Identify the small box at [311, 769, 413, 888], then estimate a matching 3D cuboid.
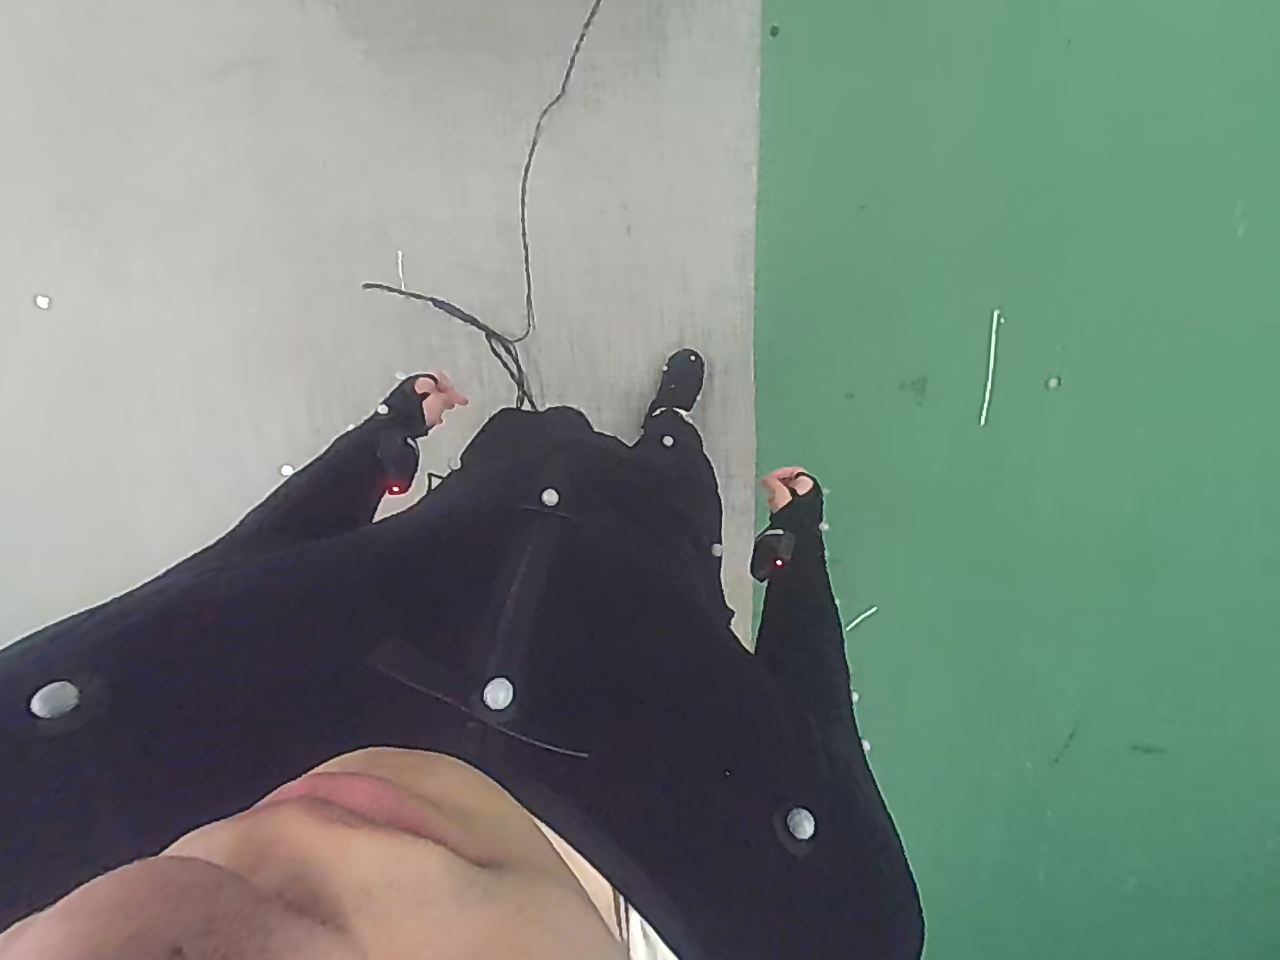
[{"bbox_3d":[-0.685,0.865,1.351,0.168,0.176,0.179,4,102,3],"label":"small box"}]
